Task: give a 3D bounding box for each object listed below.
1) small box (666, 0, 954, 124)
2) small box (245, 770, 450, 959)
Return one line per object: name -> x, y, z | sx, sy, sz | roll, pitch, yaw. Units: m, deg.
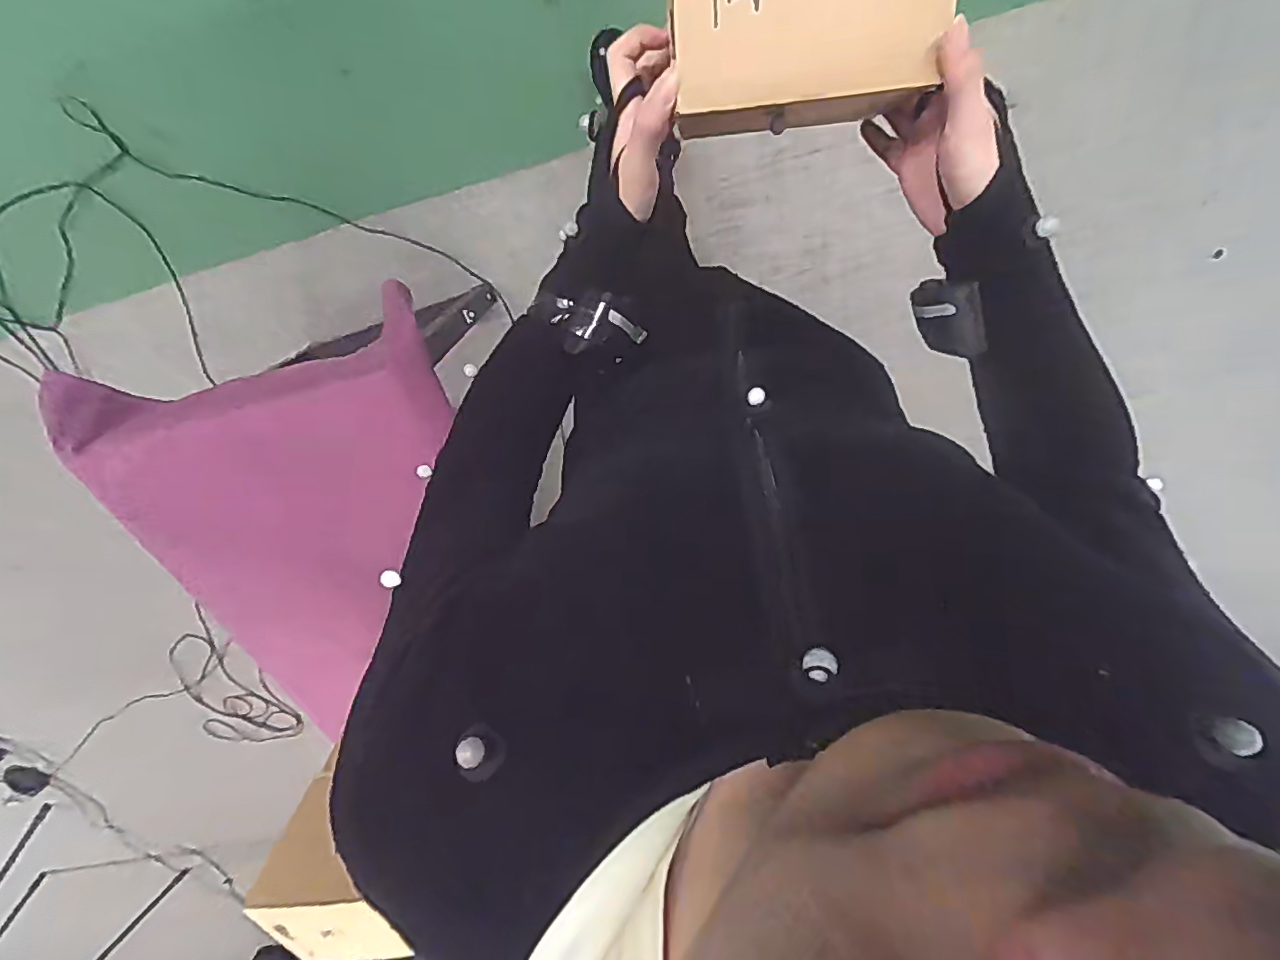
small box -> 0.109, -0.370, 0.388 | 0.179, 0.176, 0.168 | -2, 117, 7
small box -> -0.391, 0.539, 0.767 | 0.179, 0.176, 0.168 | -10, 119, 6
